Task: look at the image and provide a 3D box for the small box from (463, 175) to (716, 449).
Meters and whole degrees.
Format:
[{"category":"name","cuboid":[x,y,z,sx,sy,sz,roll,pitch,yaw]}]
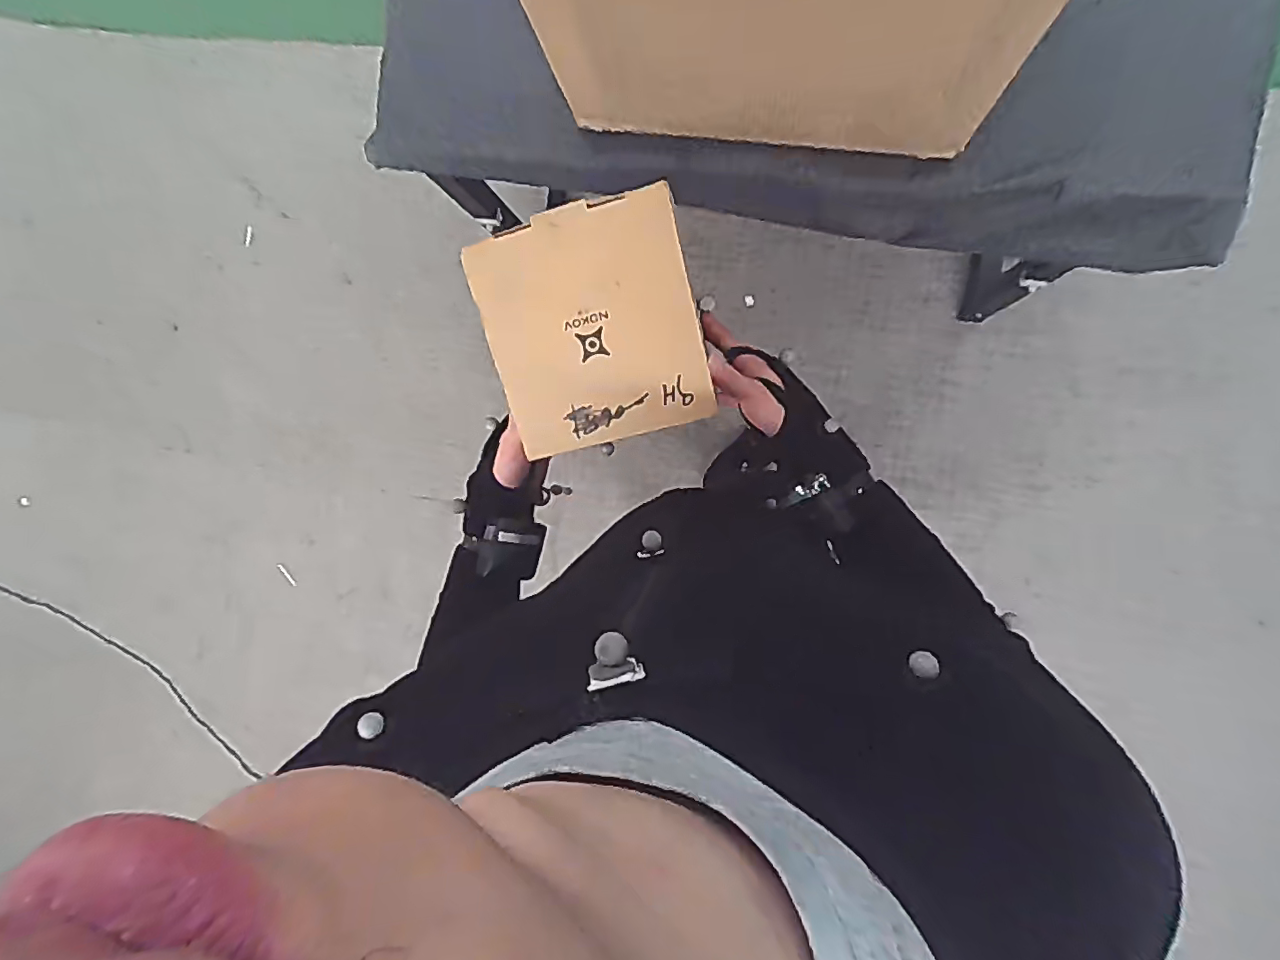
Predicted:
[{"category":"small box","cuboid":[-0.029,-0.143,0.494,0.168,0.176,0.179,-11,105,12]}]
